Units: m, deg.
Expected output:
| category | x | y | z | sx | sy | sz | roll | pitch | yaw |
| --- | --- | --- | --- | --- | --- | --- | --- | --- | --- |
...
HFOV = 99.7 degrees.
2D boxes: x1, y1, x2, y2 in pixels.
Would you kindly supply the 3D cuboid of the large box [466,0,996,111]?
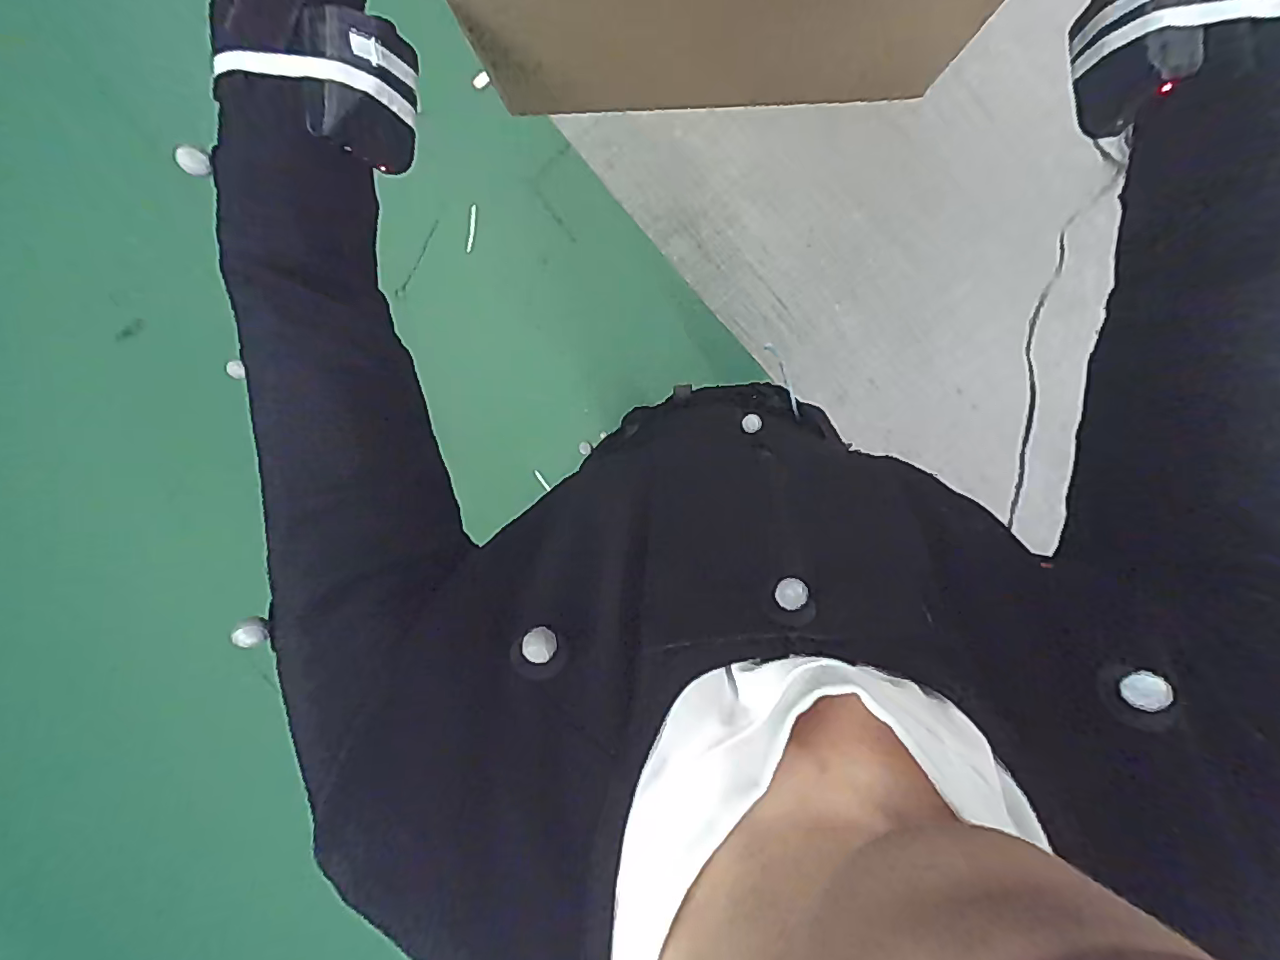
| category | x | y | z | sx | sy | sz | roll | pitch | yaw |
| --- | --- | --- | --- | --- | --- | --- | --- | --- | --- |
| large box | 0.065 | -0.496 | 0.363 | 0.408 | 0.320 | 0.320 | -1 | 99 | 1 |
